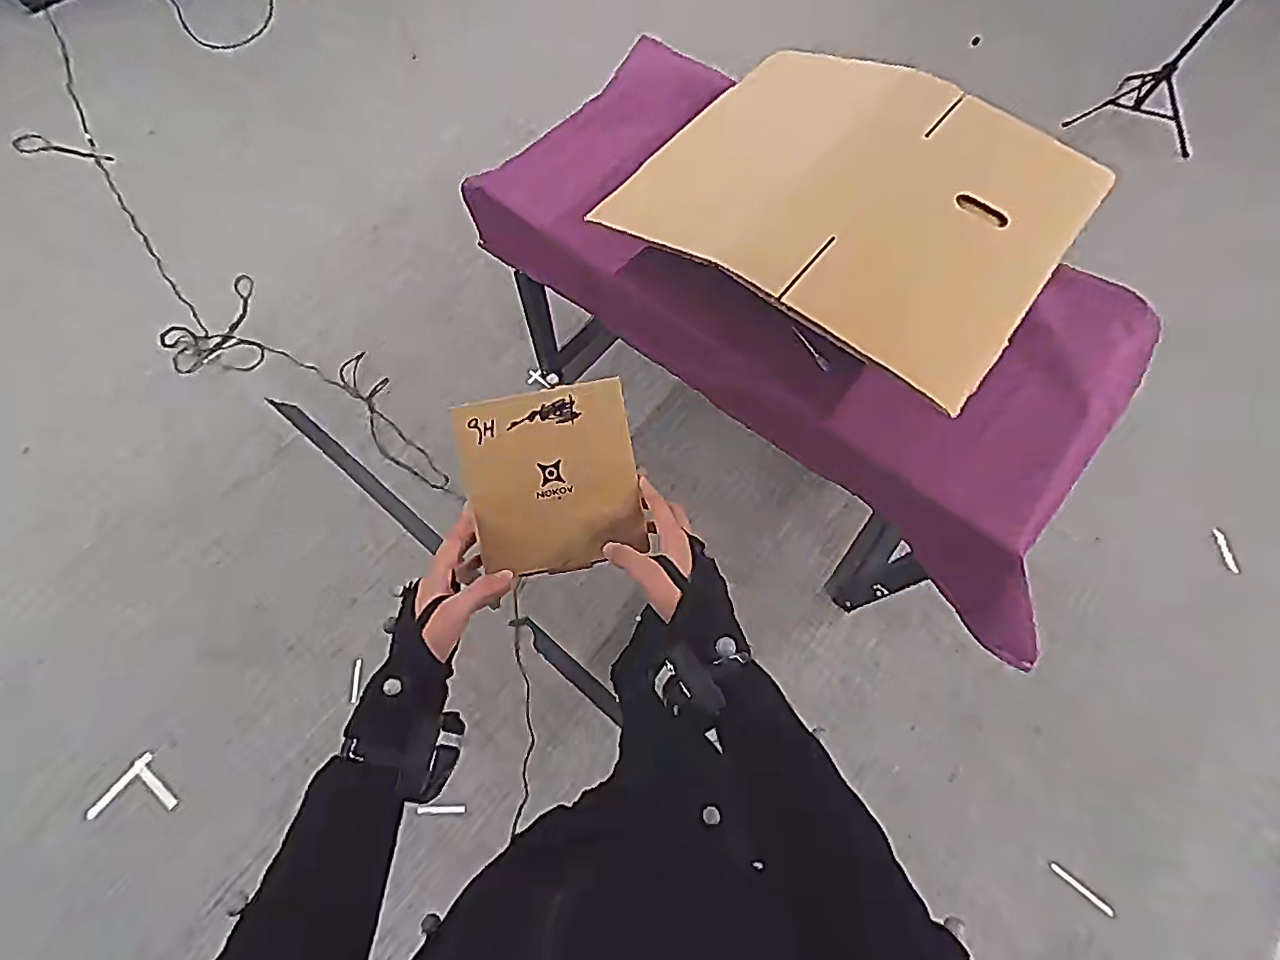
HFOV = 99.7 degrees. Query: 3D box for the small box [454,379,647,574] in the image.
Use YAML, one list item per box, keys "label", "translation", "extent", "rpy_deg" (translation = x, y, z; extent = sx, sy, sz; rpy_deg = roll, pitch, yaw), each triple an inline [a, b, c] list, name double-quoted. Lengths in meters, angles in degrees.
- label: "small box"
  translation: [-0.088, -0.014, 0.606]
  extent: [0.168, 0.176, 0.179]
  rpy_deg: [-10, 99, -2]
